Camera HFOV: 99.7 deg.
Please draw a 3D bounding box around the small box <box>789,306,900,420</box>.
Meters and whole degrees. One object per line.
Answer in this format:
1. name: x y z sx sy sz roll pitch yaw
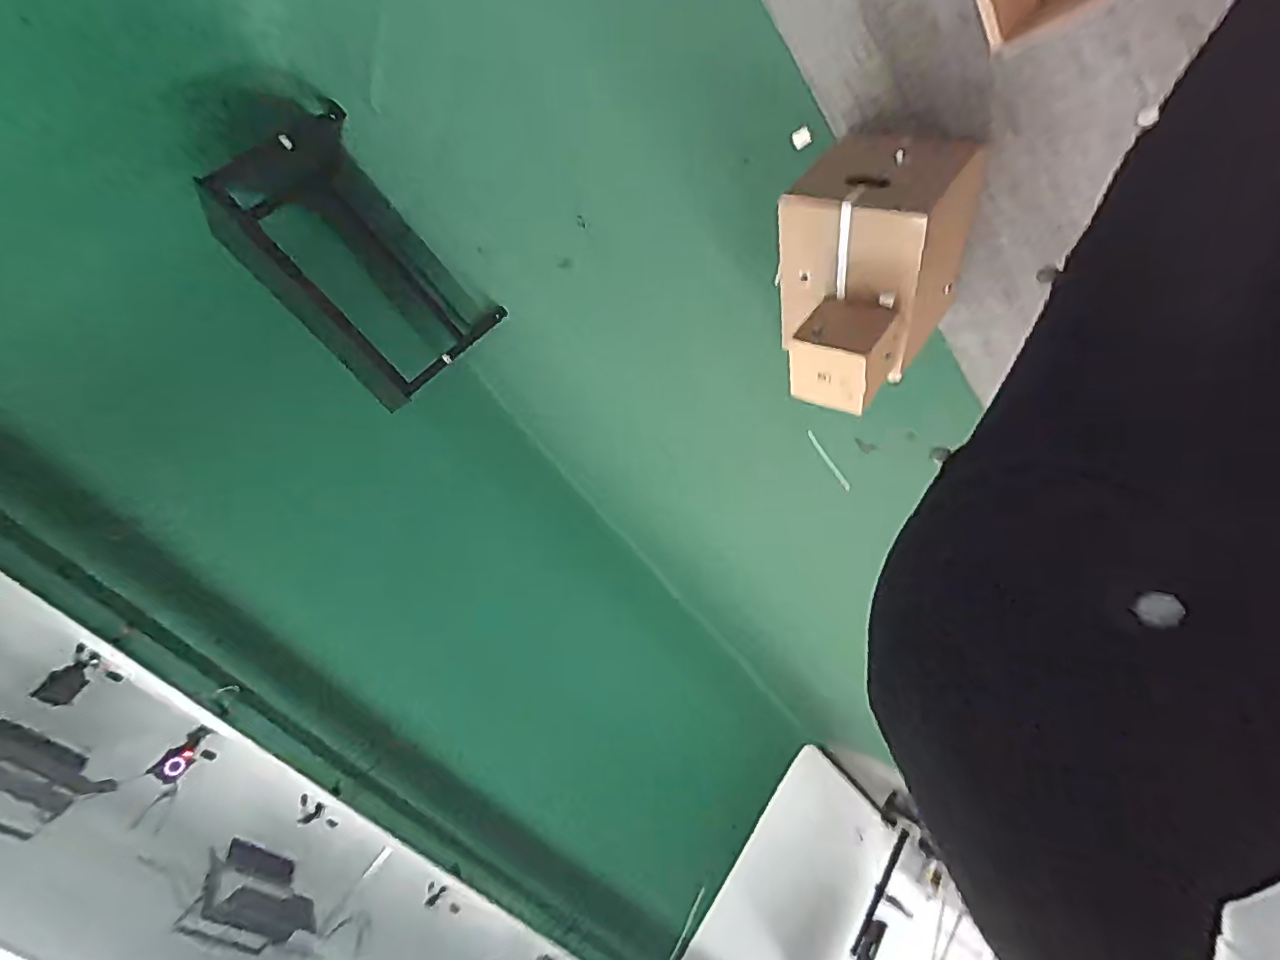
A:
1. small box: 0.453 -0.268 1.213 0.179 0.176 0.168 24 151 32
